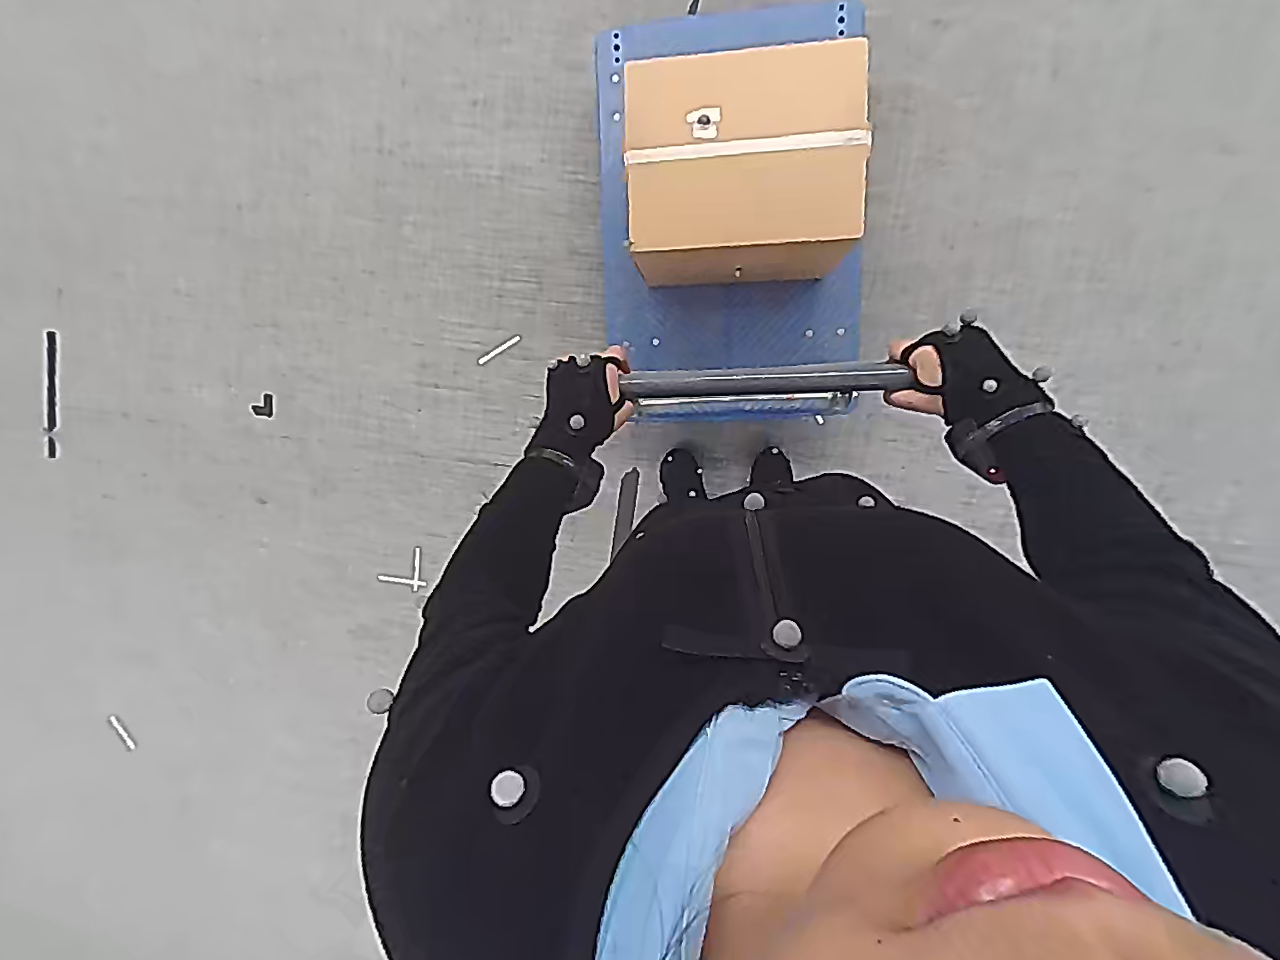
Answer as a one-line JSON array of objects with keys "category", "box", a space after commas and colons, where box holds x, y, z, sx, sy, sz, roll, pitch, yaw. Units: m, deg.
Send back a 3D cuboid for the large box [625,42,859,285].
[{"category": "large box", "box": [0.198, -0.592, 1.090, 0.408, 0.320, 0.320, -1, 97, 8]}]
